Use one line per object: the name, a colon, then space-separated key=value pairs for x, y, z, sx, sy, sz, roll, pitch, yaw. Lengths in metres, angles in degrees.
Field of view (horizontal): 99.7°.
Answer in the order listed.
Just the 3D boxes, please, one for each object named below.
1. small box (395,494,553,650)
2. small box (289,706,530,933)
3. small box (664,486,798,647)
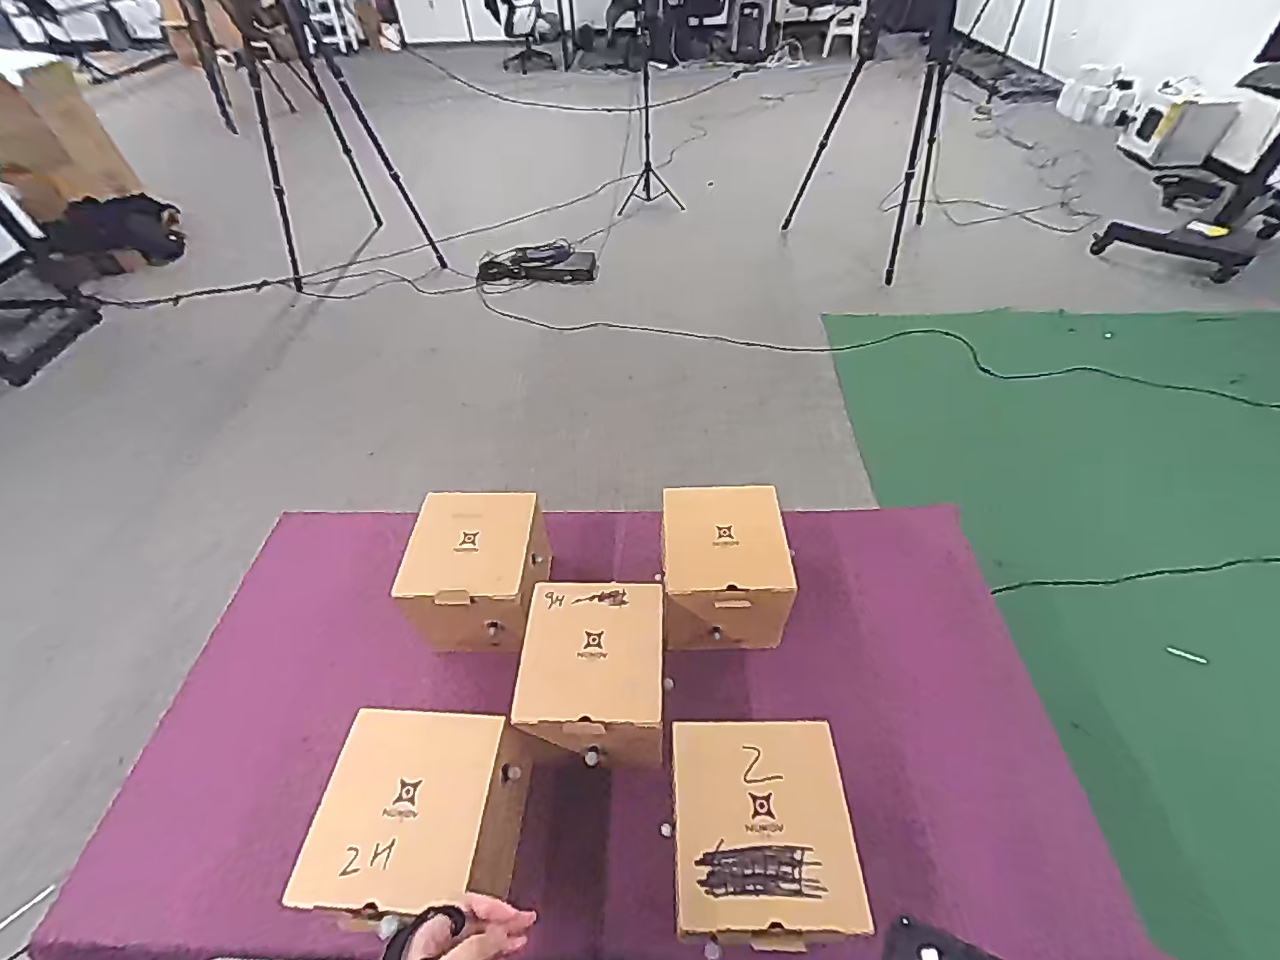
small box: x=-0.230 y=0.139 z=0.803 sx=0.168 sy=0.176 sz=0.179 roll=1 pitch=48 yaw=2
small box: x=-0.226 y=0.371 z=0.593 sx=0.168 sy=0.176 sz=0.179 roll=2 pitch=48 yaw=5
small box: x=0.120 y=0.128 z=0.796 sx=0.168 sy=0.176 sz=0.179 roll=-2 pitch=49 yaw=1
